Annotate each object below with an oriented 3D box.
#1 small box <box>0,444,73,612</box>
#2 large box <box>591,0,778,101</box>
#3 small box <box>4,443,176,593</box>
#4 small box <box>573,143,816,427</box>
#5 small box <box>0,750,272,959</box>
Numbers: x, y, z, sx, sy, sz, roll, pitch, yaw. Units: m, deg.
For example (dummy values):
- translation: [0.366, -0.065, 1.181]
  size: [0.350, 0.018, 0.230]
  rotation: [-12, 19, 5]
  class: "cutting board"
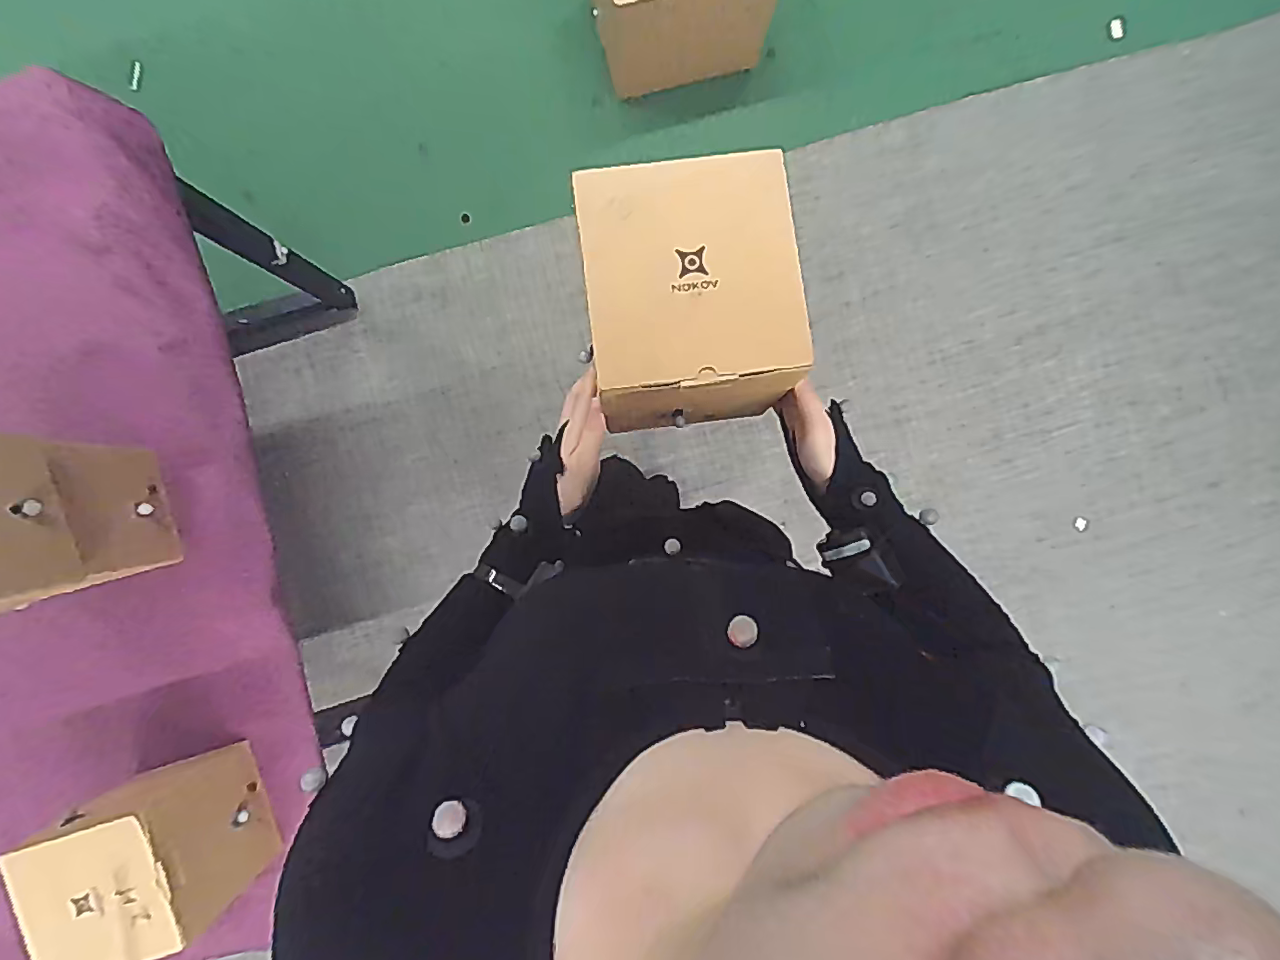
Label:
- translation: [-0.716, 0.059, 0.509]
  size: [0.168, 0.176, 0.179]
  rotation: [-18, 90, -1]
  class: "small box"
- translation: [0.098, -1.227, 1.332]
  size: [0.408, 0.320, 0.320]
  rotation: [-15, 91, -1]
  class: "large box"
- translation: [-0.745, 0.058, 0.673]
  size: [0.179, 0.176, 0.168]
  rotation: [-15, 91, -1]
  class: "small box"
- translation: [0.036, -0.154, 0.477]
  size: [0.168, 0.176, 0.179]
  rotation: [-7, 86, -2]
  class: "small box"
- translation: [-0.614, 0.473, 0.673]
  size: [0.179, 0.176, 0.168]
  rotation: [-18, 91, 1]
  class: "small box"
